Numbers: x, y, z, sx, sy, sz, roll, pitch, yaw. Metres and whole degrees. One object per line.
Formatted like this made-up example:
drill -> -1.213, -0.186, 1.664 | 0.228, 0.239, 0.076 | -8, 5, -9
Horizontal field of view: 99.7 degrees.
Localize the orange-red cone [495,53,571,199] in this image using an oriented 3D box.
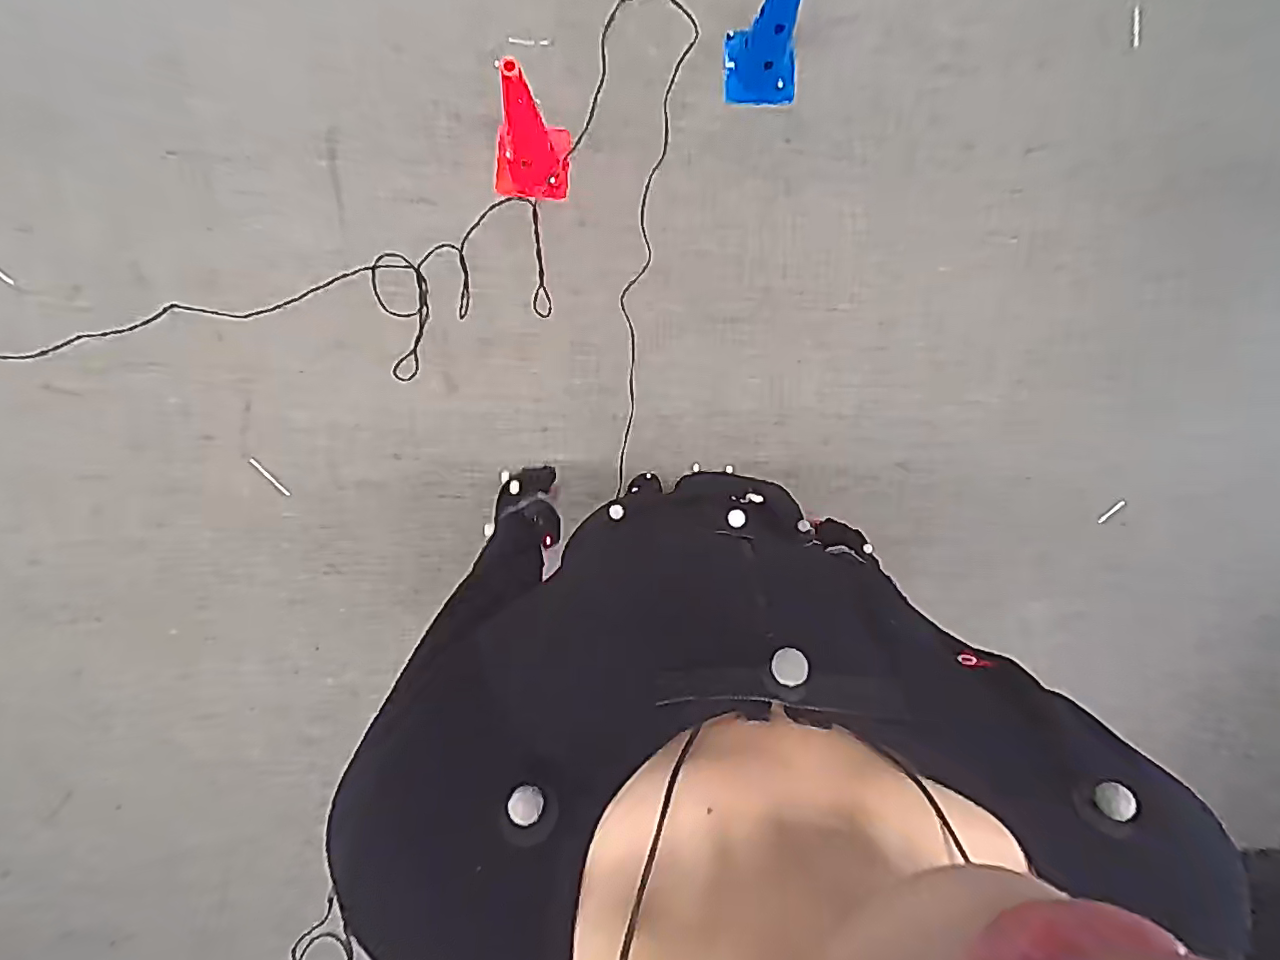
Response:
orange-red cone -> -0.283, -0.883, 1.313 | 0.198, 0.360, 0.199 | 5, 89, -3
